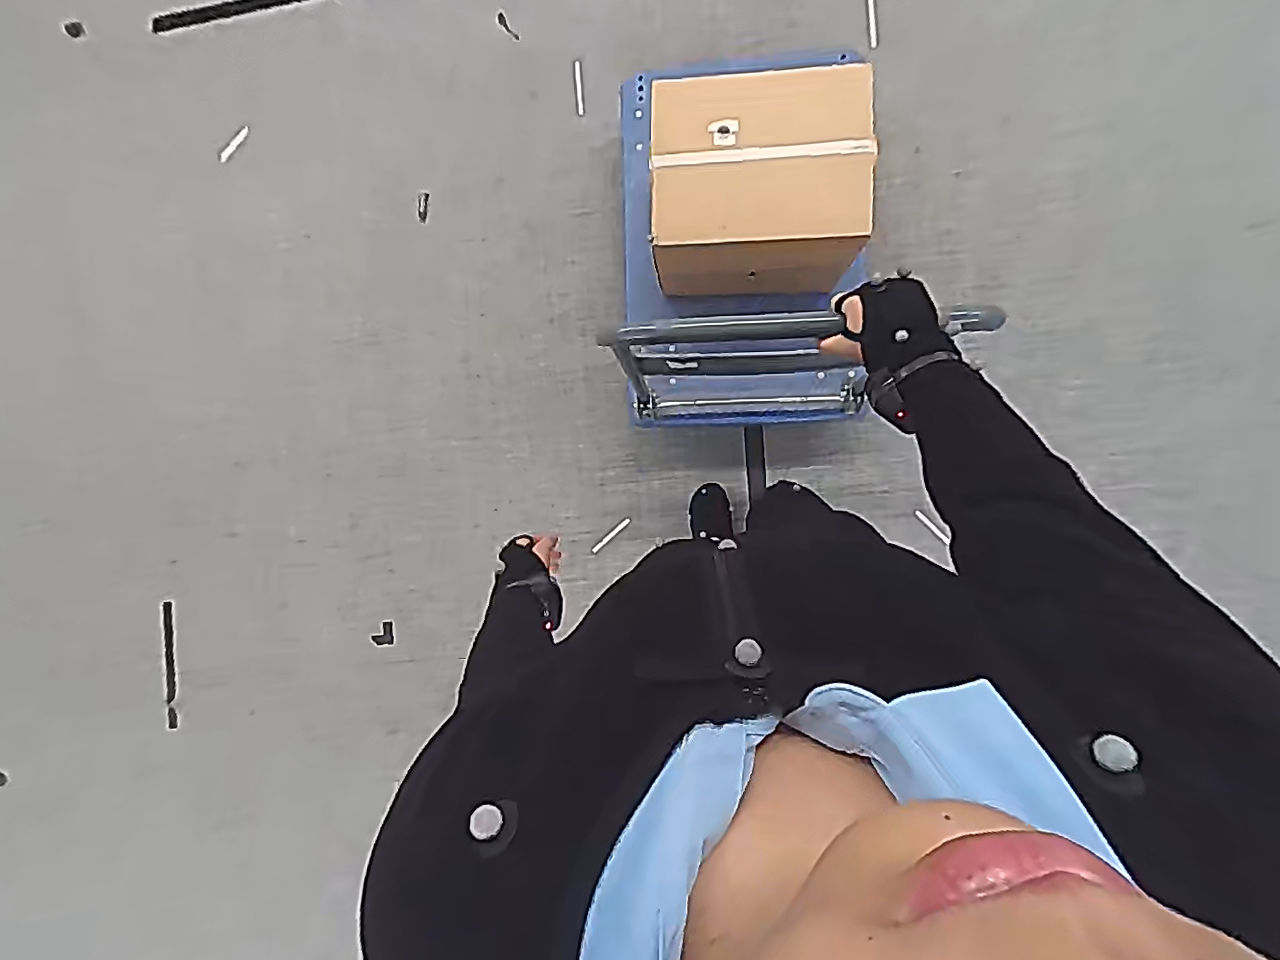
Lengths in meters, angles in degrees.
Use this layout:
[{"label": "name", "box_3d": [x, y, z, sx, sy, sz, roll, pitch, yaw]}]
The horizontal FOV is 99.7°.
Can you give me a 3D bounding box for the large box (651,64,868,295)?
[{"label": "large box", "box_3d": [0.243, -0.609, 1.166, 0.408, 0.320, 0.320, 0, 90, 8]}]
